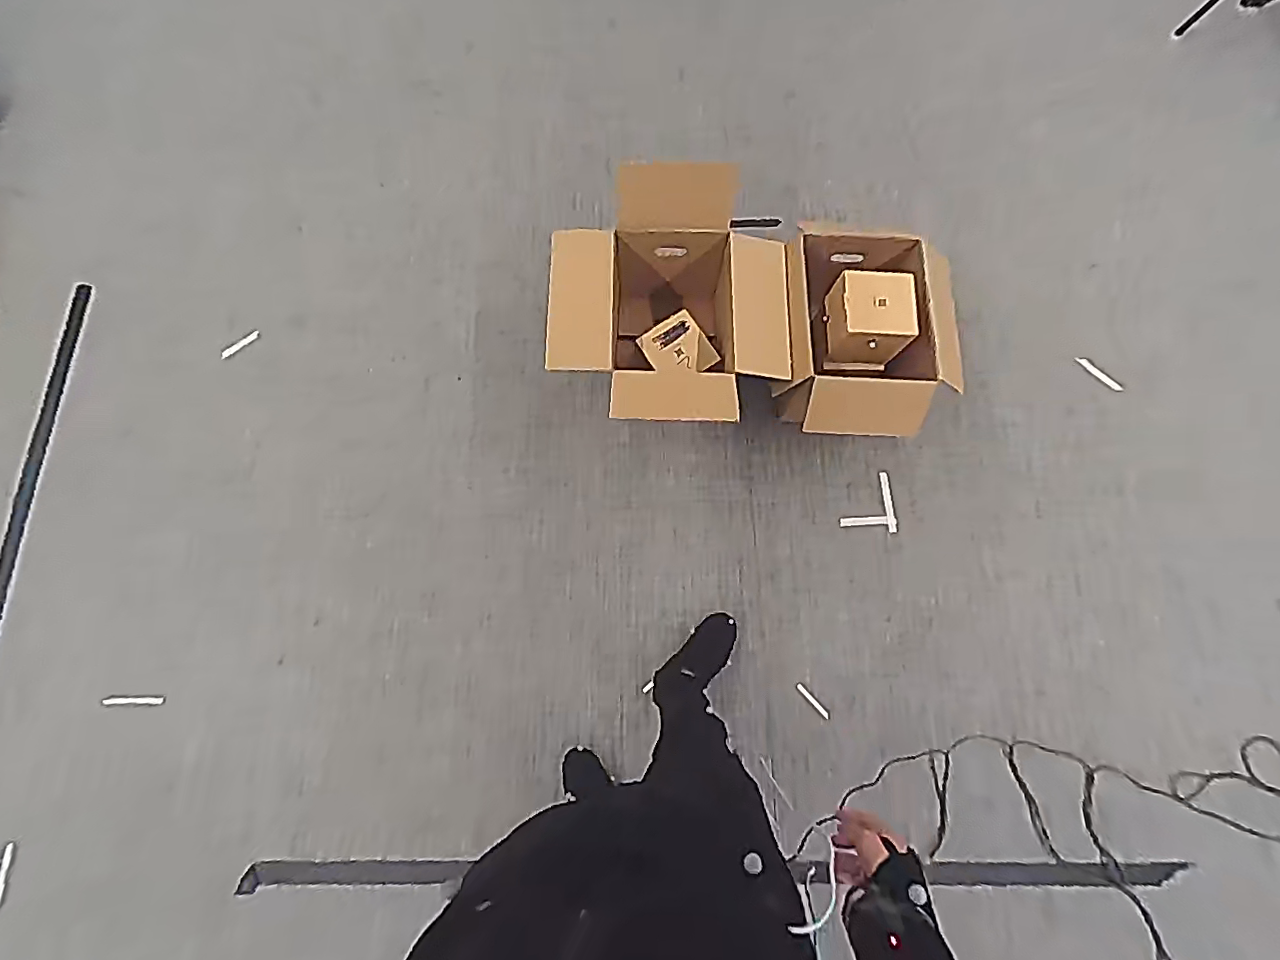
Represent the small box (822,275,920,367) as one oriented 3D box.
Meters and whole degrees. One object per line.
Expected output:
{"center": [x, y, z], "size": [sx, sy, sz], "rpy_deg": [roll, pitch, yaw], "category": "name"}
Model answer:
{"center": [0.580, -0.398, 1.374], "size": [0.179, 0.176, 0.168], "rpy_deg": [2, 78, 0], "category": "small box"}
